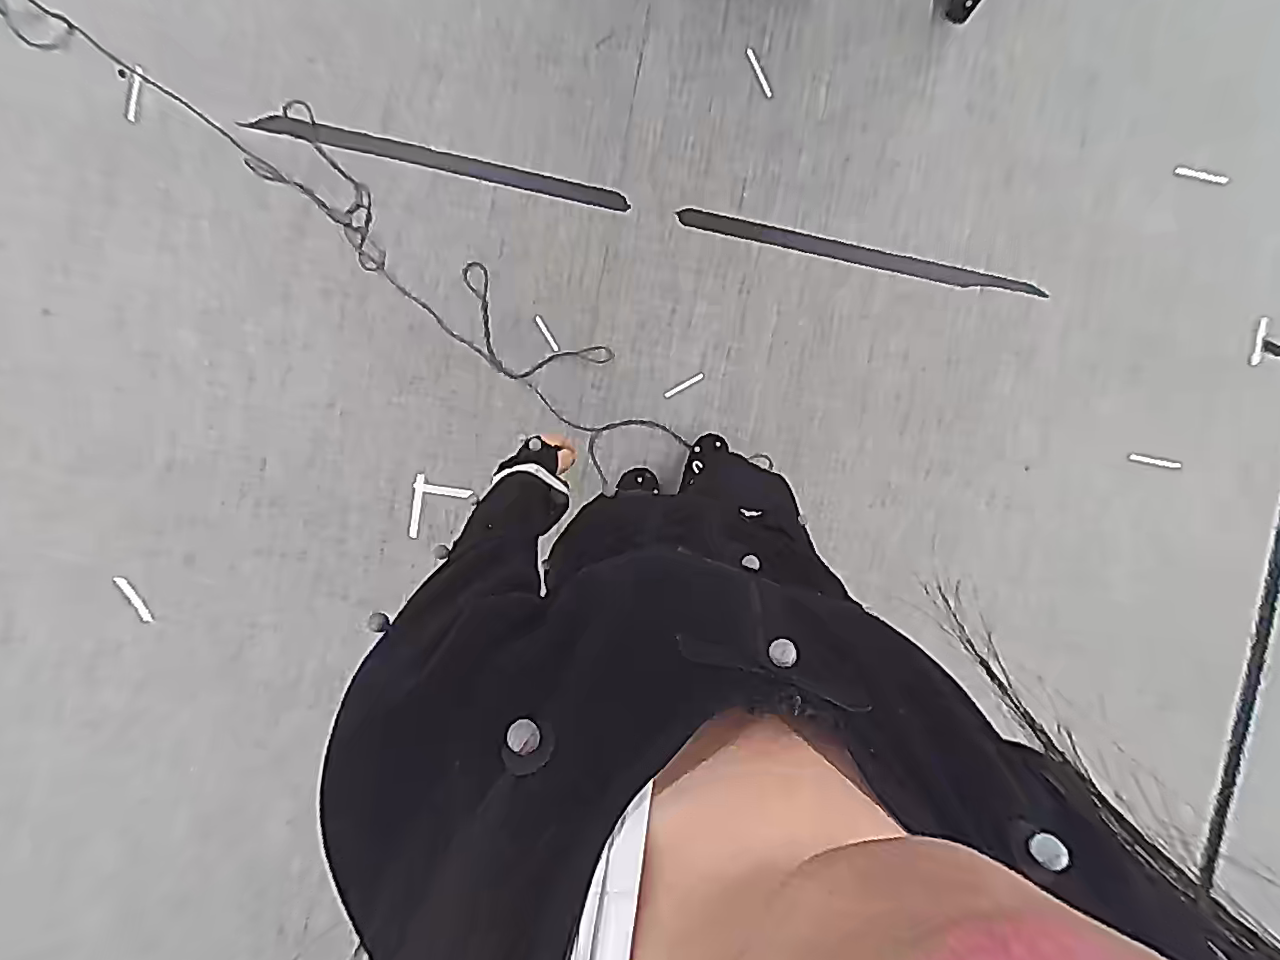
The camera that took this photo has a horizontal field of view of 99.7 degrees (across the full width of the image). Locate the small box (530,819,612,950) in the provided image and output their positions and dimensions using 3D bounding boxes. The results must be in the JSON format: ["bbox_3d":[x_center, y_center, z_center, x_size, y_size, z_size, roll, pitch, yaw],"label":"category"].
[{"bbox_3d":[-0.155,0.932,1.255,0.168,0.176,0.179,5,92,-4],"label":"small box"}]
